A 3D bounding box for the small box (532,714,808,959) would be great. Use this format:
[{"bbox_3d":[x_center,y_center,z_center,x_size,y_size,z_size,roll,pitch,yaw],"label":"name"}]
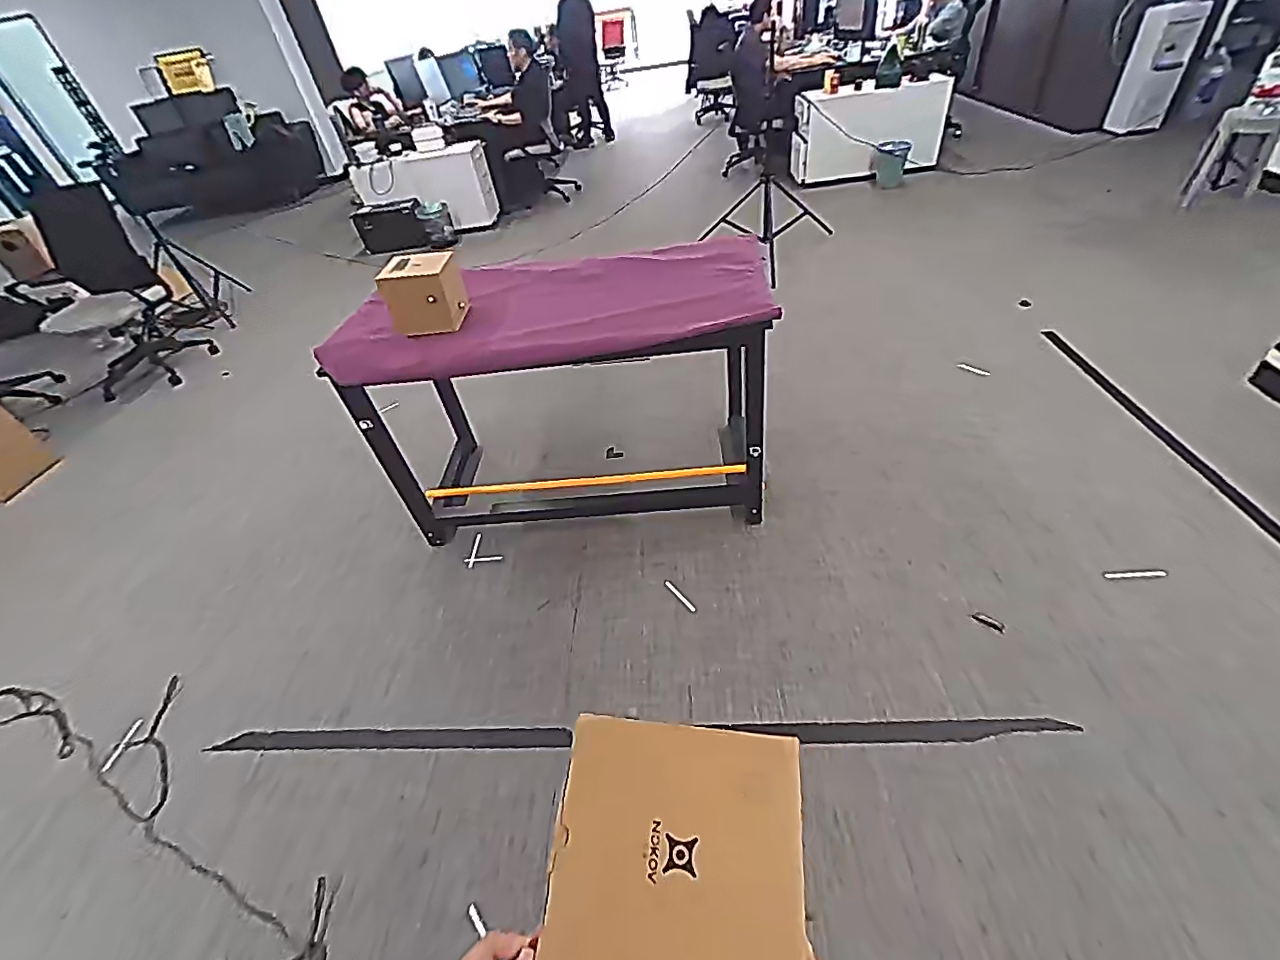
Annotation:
[{"bbox_3d":[0.035,0.300,0.437,0.179,0.176,0.168,0,56,12],"label":"small box"}]
